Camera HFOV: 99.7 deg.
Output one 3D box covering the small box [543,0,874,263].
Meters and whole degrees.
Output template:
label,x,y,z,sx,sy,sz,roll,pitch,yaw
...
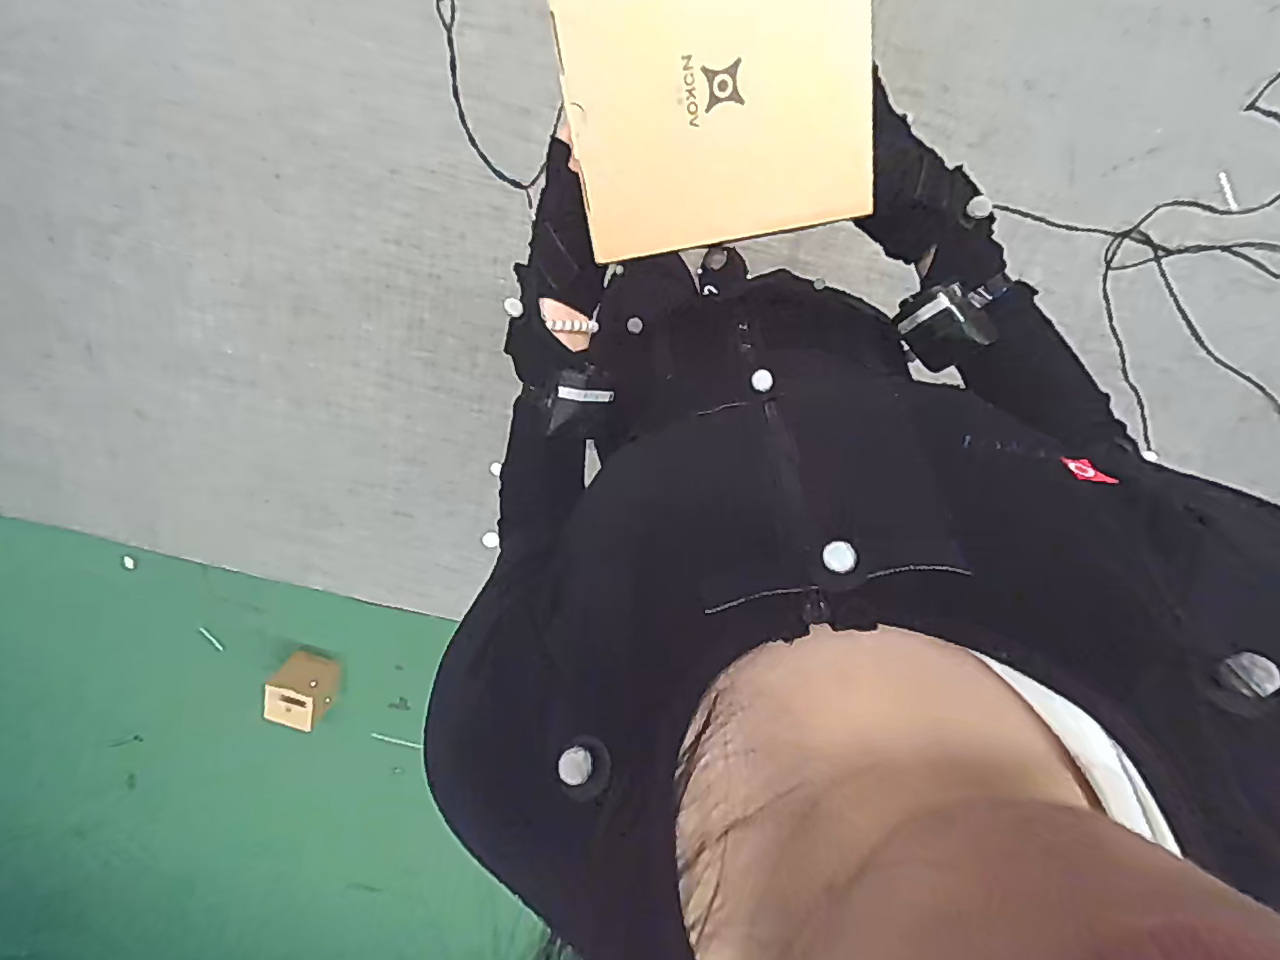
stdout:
label,x,y,z,sx,sy,sz,roll,pitch,yaw
small box,0.047,-0.256,0.377,0.179,0.176,0.168,-7,113,9
